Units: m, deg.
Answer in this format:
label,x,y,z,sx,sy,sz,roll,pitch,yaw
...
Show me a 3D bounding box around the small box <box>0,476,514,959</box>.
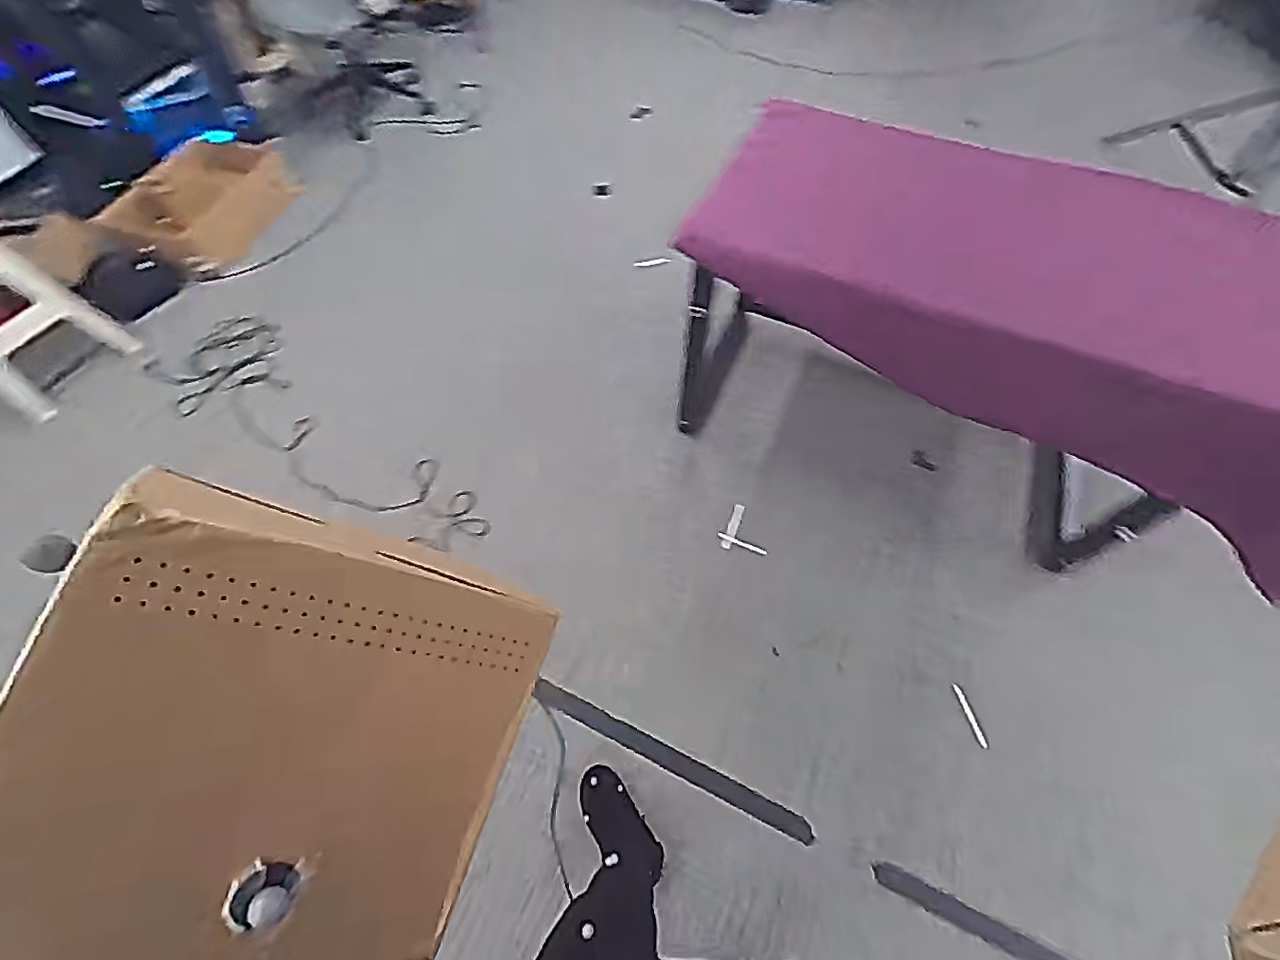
label,x,y,z,sx,sy,sz,roll,pitch,yaw
small box,-0.189,0.106,0.268,0.168,0.179,0.176,2,71,51
